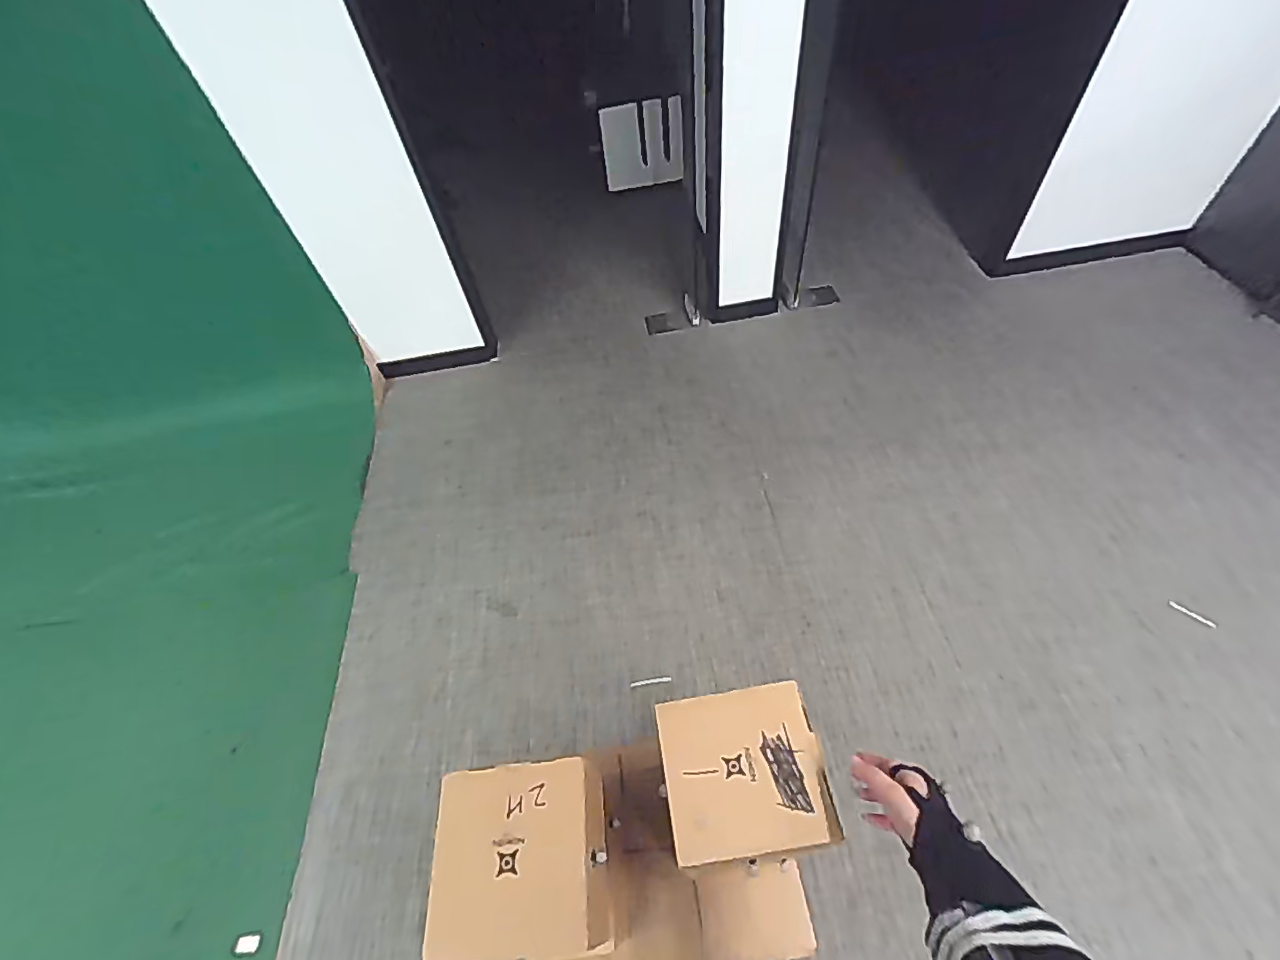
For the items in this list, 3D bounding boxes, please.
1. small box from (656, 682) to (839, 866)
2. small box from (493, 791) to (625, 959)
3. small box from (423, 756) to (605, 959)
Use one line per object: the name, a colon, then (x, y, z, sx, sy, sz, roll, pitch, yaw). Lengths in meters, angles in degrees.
small box: (0.122, 0.366, 0.667, 0.179, 0.176, 0.168, -10, 52, 2)
small box: (-0.116, 0.550, 0.764, 0.168, 0.176, 0.179, -8, 53, 0)
small box: (-0.133, 0.442, 0.641, 0.168, 0.176, 0.179, -5, 53, 0)
